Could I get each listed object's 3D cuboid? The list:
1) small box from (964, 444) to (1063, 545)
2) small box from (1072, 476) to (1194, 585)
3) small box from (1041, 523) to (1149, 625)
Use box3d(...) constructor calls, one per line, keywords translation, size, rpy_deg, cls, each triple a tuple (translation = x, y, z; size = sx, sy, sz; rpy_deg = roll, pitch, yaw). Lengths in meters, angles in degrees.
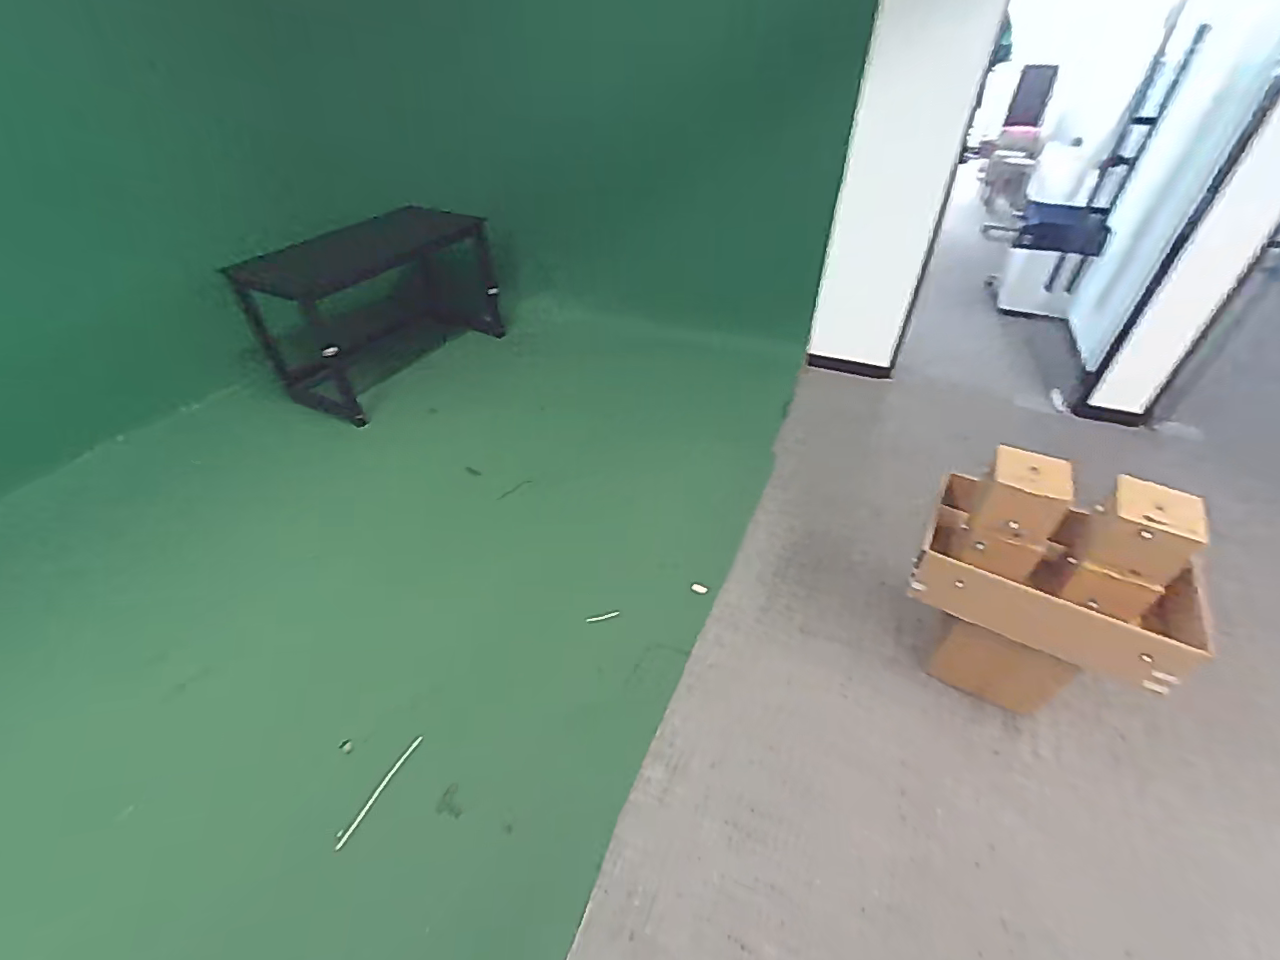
box3d(translation=(0.985, 0.038, 1.438), size=(0.168, 0.176, 0.179), rpy_deg=(19, 46, 20), cls="small box")
box3d(translation=(1.216, 0.125, 1.346), size=(0.168, 0.176, 0.179), rpy_deg=(23, 48, 23), cls="small box")
box3d(translation=(1.213, 0.252, 1.452), size=(0.168, 0.176, 0.179), rpy_deg=(22, 48, 22), cls="small box")
